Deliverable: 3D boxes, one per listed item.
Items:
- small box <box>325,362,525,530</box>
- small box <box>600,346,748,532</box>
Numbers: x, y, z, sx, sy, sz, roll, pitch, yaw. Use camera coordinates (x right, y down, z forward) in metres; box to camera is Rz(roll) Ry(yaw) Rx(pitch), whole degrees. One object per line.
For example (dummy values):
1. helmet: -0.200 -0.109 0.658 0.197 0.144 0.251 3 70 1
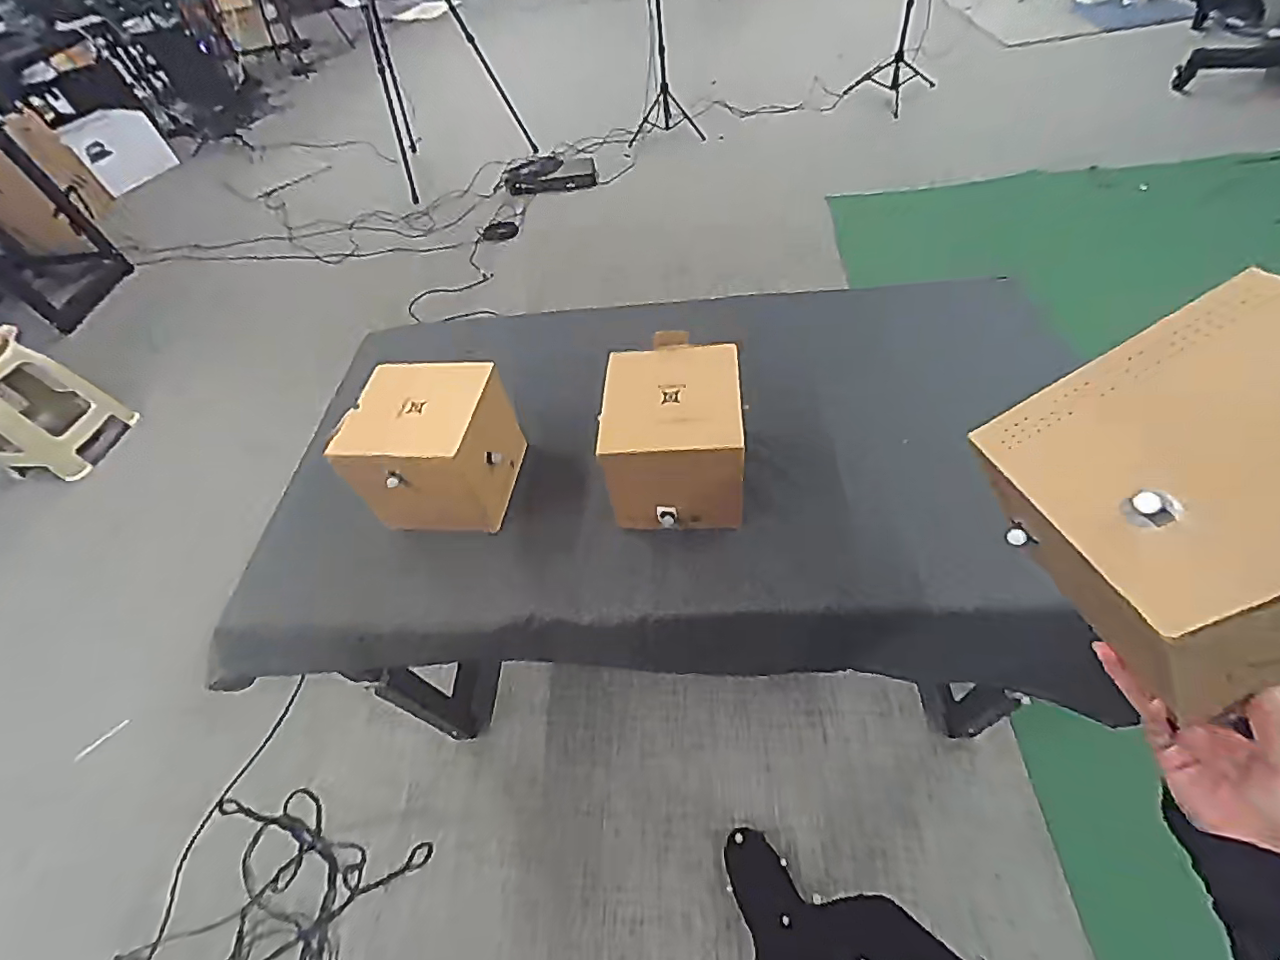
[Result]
1. small box: -0.275 -0.044 0.745 0.179 0.176 0.168 1 52 10
2. small box: 0.049 -0.049 0.705 0.168 0.176 0.179 -3 53 7
